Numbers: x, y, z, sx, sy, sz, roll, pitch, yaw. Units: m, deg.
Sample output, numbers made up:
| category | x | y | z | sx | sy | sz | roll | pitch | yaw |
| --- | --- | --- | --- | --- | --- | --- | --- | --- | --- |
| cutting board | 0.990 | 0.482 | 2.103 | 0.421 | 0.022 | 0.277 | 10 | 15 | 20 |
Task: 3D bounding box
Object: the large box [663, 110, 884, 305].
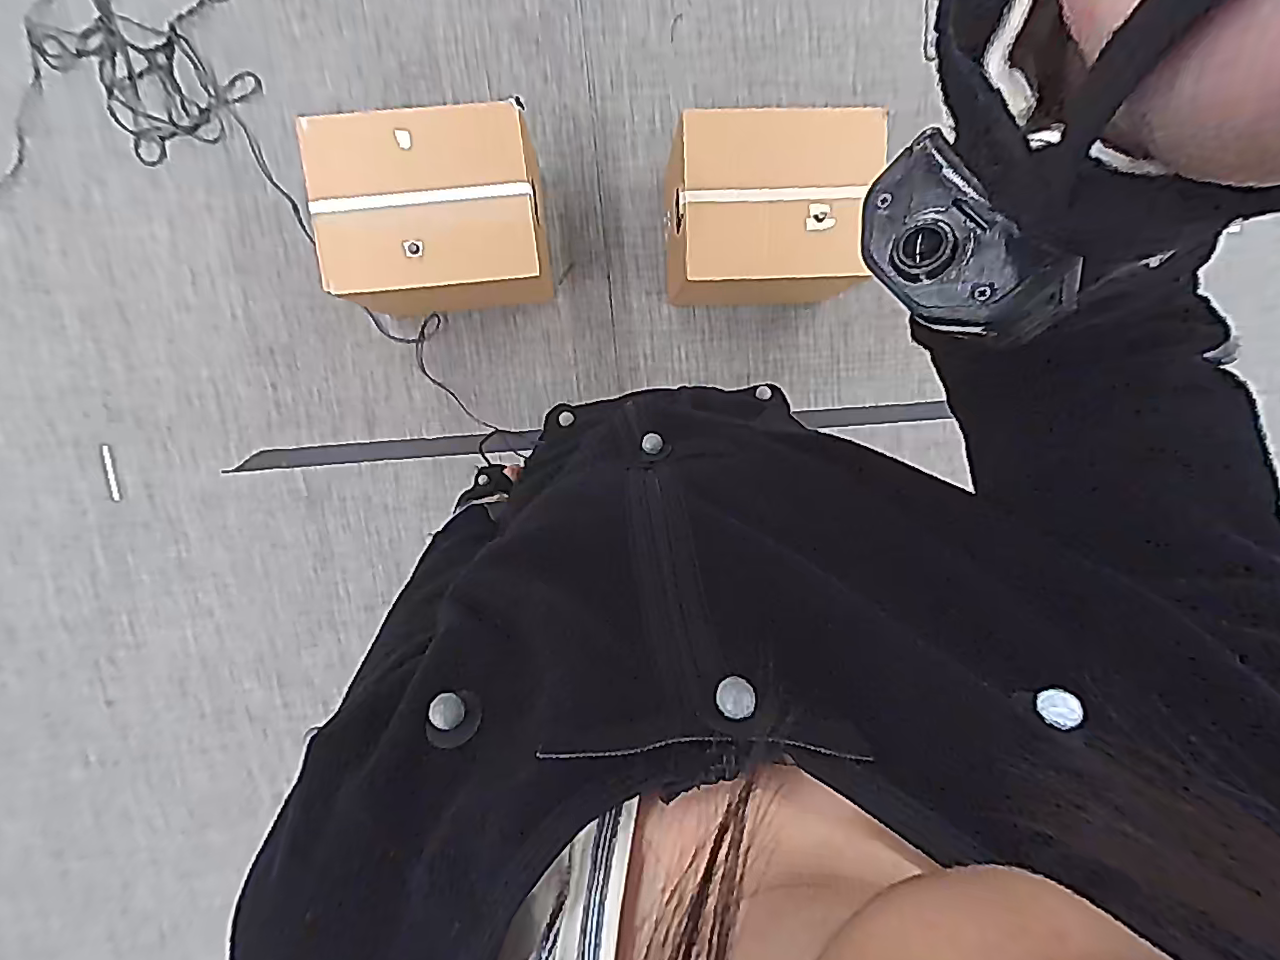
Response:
| category | x | y | z | sx | sy | sz | roll | pitch | yaw |
| --- | --- | --- | --- | --- | --- | --- | --- | --- | --- |
| large box | 0.274 | -0.583 | 1.212 | 0.408 | 0.320 | 0.320 | -3 | 99 | -4 |
